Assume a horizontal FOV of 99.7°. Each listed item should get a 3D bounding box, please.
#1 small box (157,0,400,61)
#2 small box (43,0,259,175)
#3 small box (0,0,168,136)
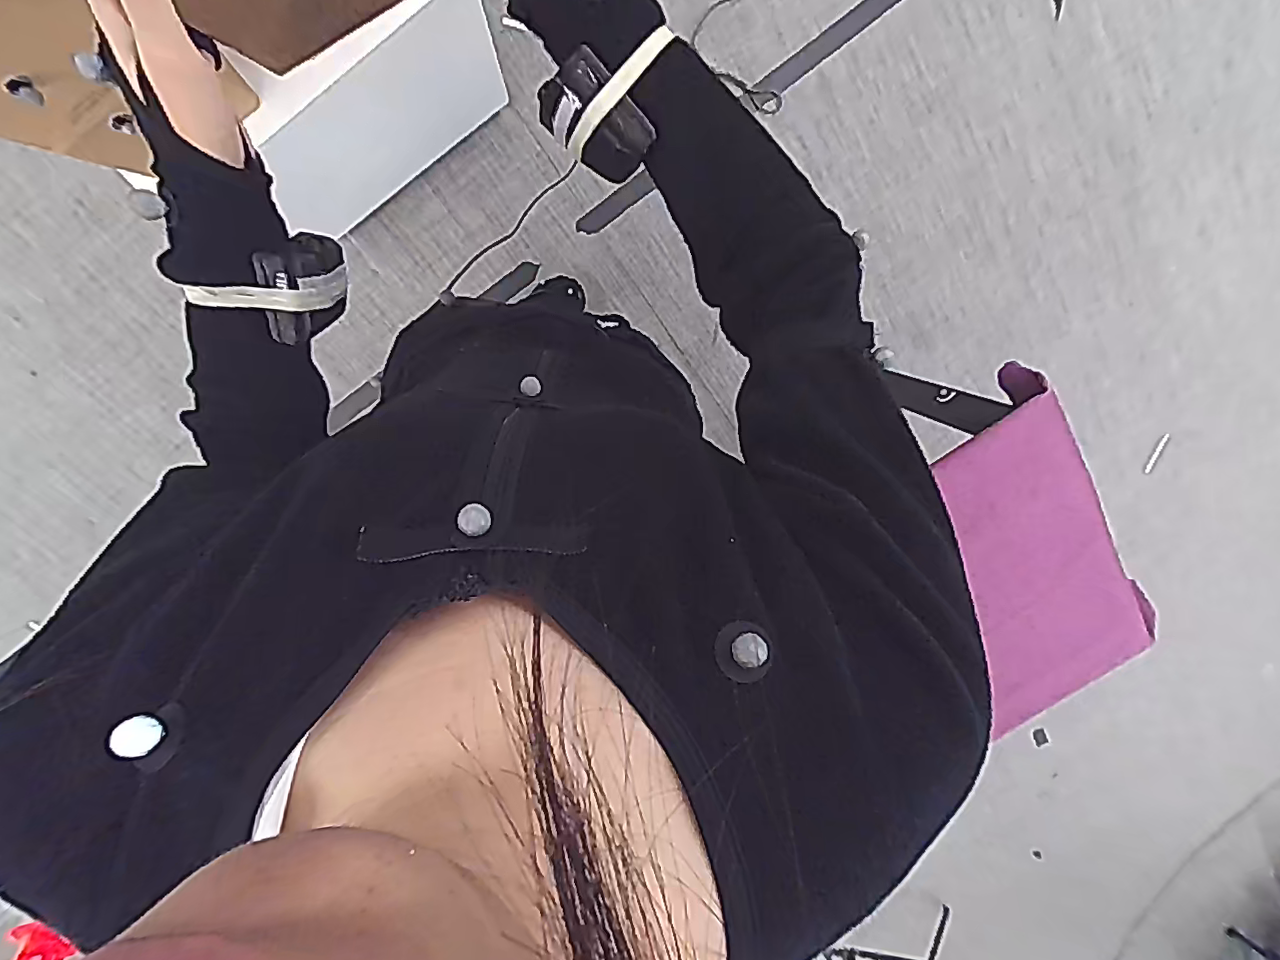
[{"bbox_3d":[-0.212,-0.368,0.281,0.179,0.176,0.168,-26,114,5],"label":"small box"},{"bbox_3d":[-0.575,-0.467,0.581,0.168,0.176,0.179,-35,110,6],"label":"small box"},{"bbox_3d":[-0.551,-0.411,0.431,0.168,0.176,0.179,-36,110,6],"label":"small box"}]
